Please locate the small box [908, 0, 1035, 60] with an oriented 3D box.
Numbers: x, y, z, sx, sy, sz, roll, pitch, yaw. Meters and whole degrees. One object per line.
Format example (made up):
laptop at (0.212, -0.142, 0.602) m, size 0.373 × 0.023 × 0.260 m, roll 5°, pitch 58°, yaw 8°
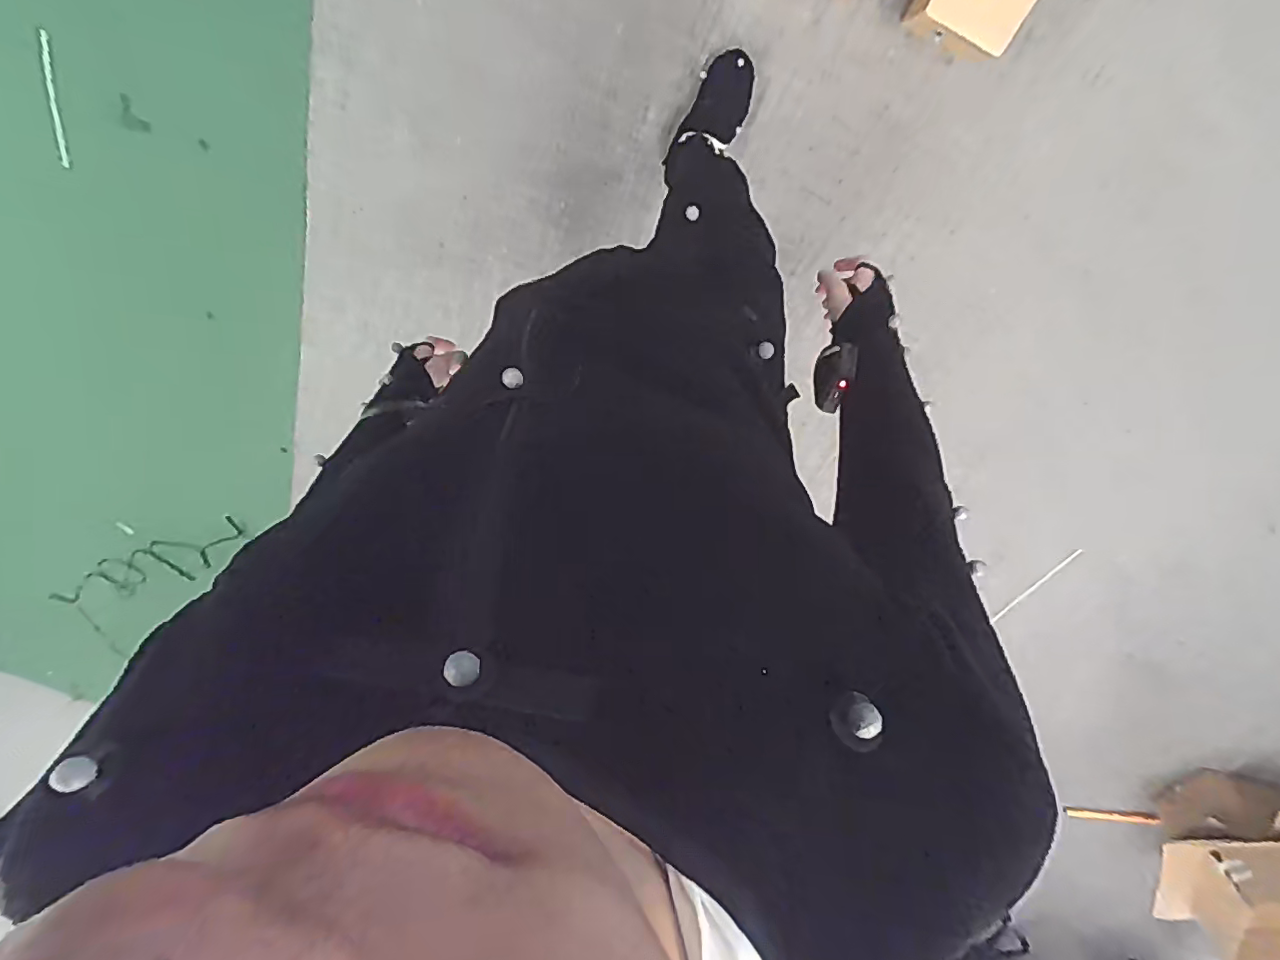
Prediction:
small box at (0.625, -0.912, 0.994) m, size 0.168 × 0.176 × 0.179 m, roll 23°, pitch 123°, yaw -7°
